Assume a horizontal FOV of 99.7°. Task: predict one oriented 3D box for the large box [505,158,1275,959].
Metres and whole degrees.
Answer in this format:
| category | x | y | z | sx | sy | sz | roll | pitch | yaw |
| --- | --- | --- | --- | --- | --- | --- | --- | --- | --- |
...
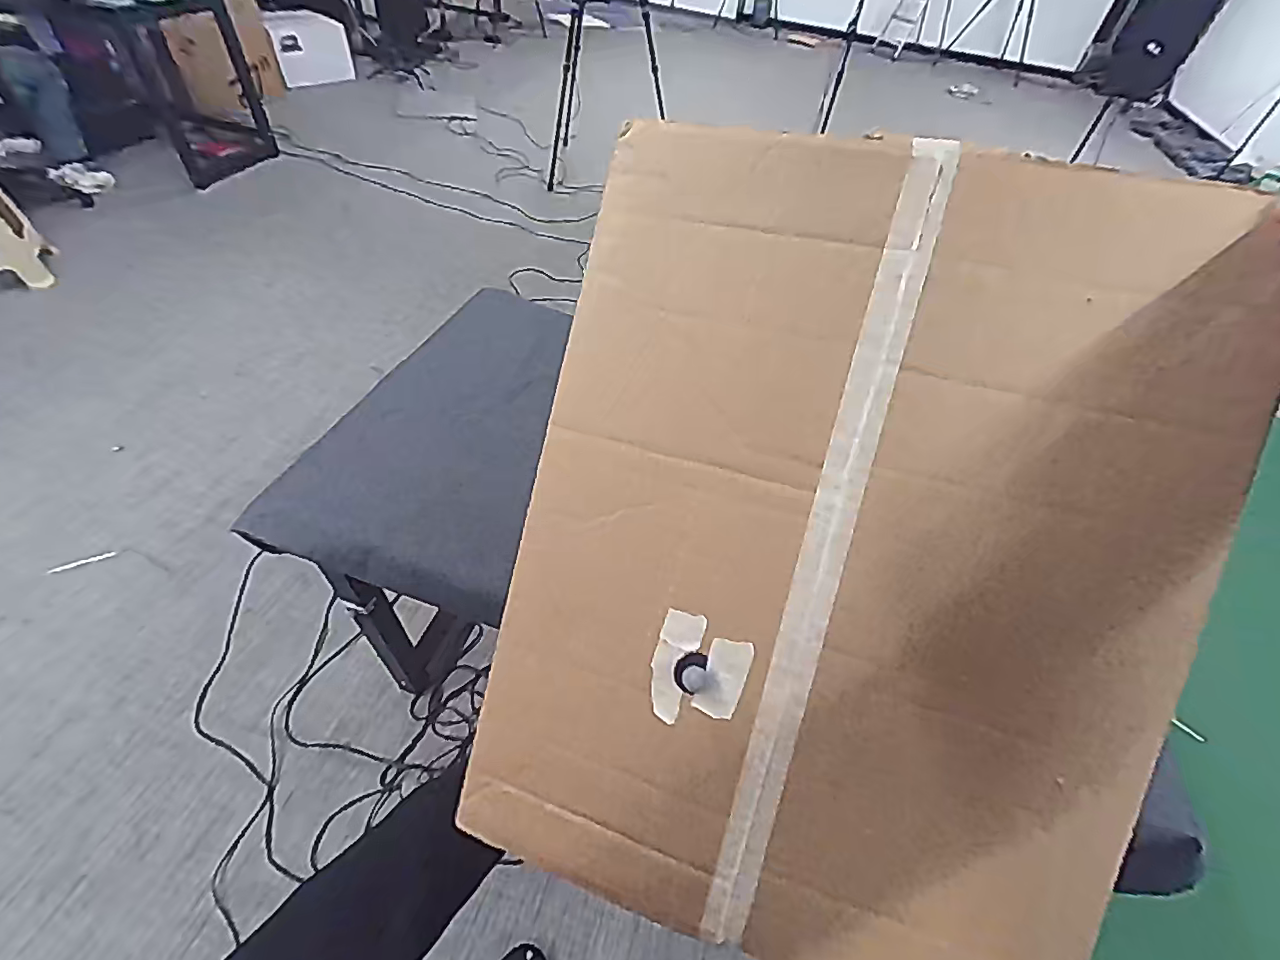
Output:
| category | x | y | z | sx | sy | sz | roll | pitch | yaw |
| --- | --- | --- | --- | --- | --- | --- | --- | --- | --- |
| large box | 0.131 | 0.038 | 0.433 | 0.320 | 0.408 | 0.320 | 14 | 6 | 12 |
